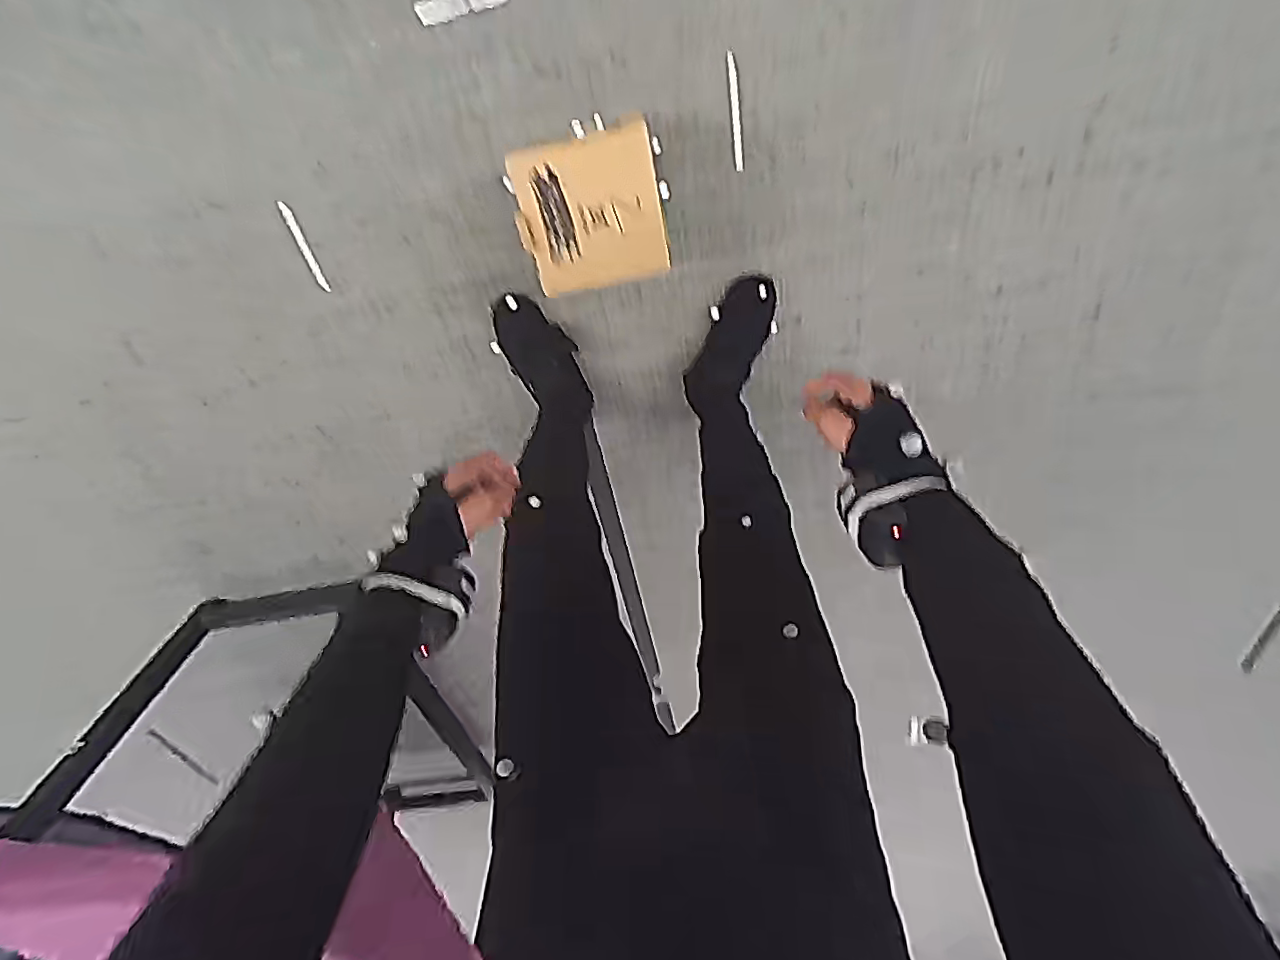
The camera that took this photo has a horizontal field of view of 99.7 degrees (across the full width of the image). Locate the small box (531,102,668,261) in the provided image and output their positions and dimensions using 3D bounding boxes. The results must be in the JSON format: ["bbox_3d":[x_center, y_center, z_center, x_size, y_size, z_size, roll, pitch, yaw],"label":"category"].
[{"bbox_3d":[-0.053,-0.476,0.858,0.168,0.176,0.179,-12,125,9],"label":"small box"}]
